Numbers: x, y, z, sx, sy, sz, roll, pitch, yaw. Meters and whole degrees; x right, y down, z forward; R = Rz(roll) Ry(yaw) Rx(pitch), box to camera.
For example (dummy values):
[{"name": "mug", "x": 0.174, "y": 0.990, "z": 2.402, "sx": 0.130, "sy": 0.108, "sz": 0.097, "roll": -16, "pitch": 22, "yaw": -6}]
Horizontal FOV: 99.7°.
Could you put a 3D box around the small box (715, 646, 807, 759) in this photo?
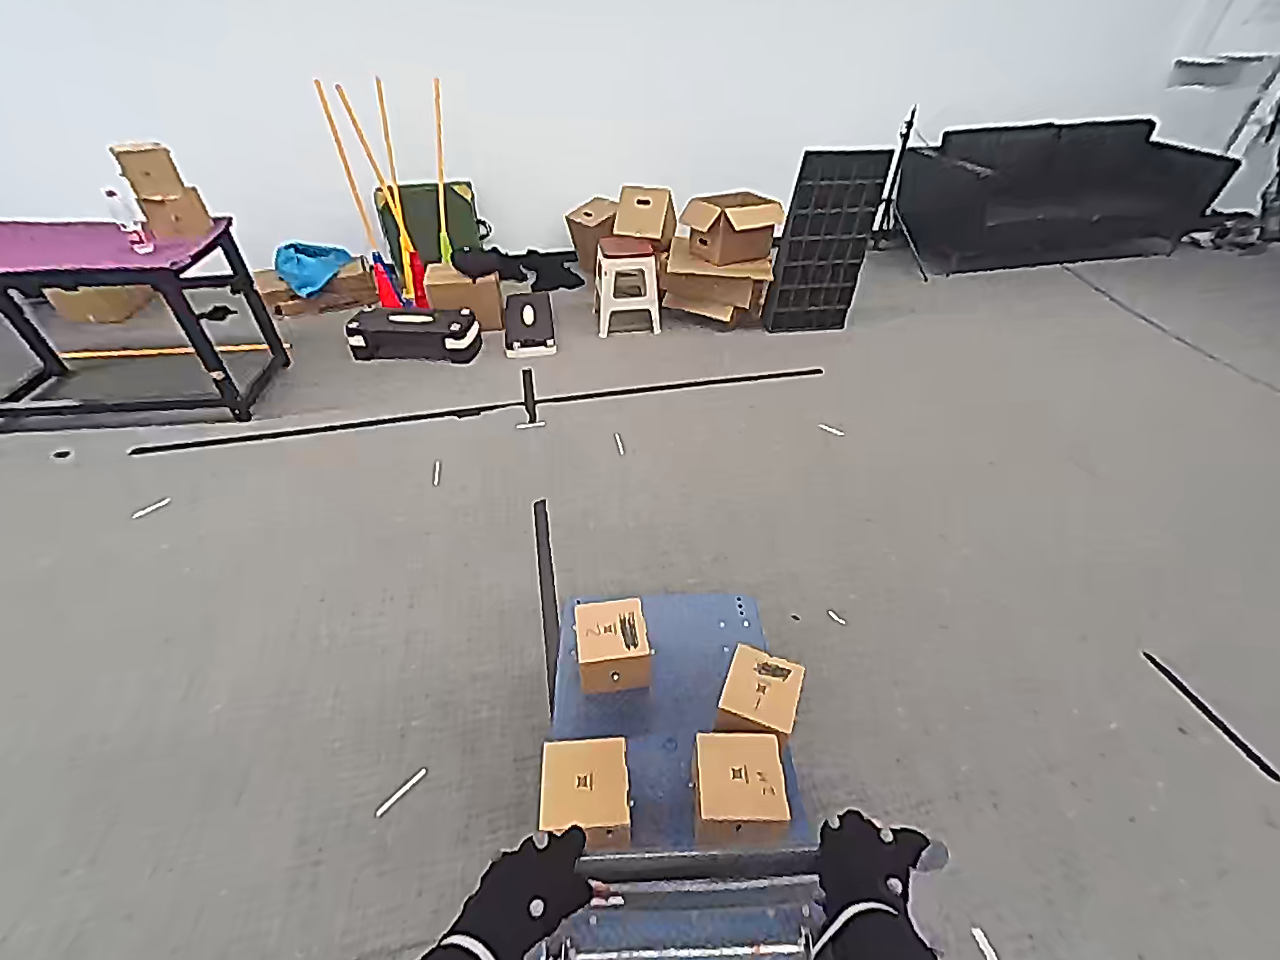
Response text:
[{"name": "small box", "x": 0.284, "y": 0.537, "z": 1.292, "sx": 0.168, "sy": 0.176, "sz": 0.179, "roll": 16, "pitch": 45, "yaw": 17}]

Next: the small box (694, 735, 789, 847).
[{"name": "small box", "x": 0.206, "y": 0.663, "z": 1.150, "sx": 0.179, "sy": 0.176, "sz": 0.168, "roll": 1, "pitch": 42, "yaw": 1}]

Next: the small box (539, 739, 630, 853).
[{"name": "small box", "x": -0.112, "y": 0.669, "z": 1.143, "sx": 0.179, "sy": 0.176, "sz": 0.168, "roll": -1, "pitch": 42, "yaw": -4}]
